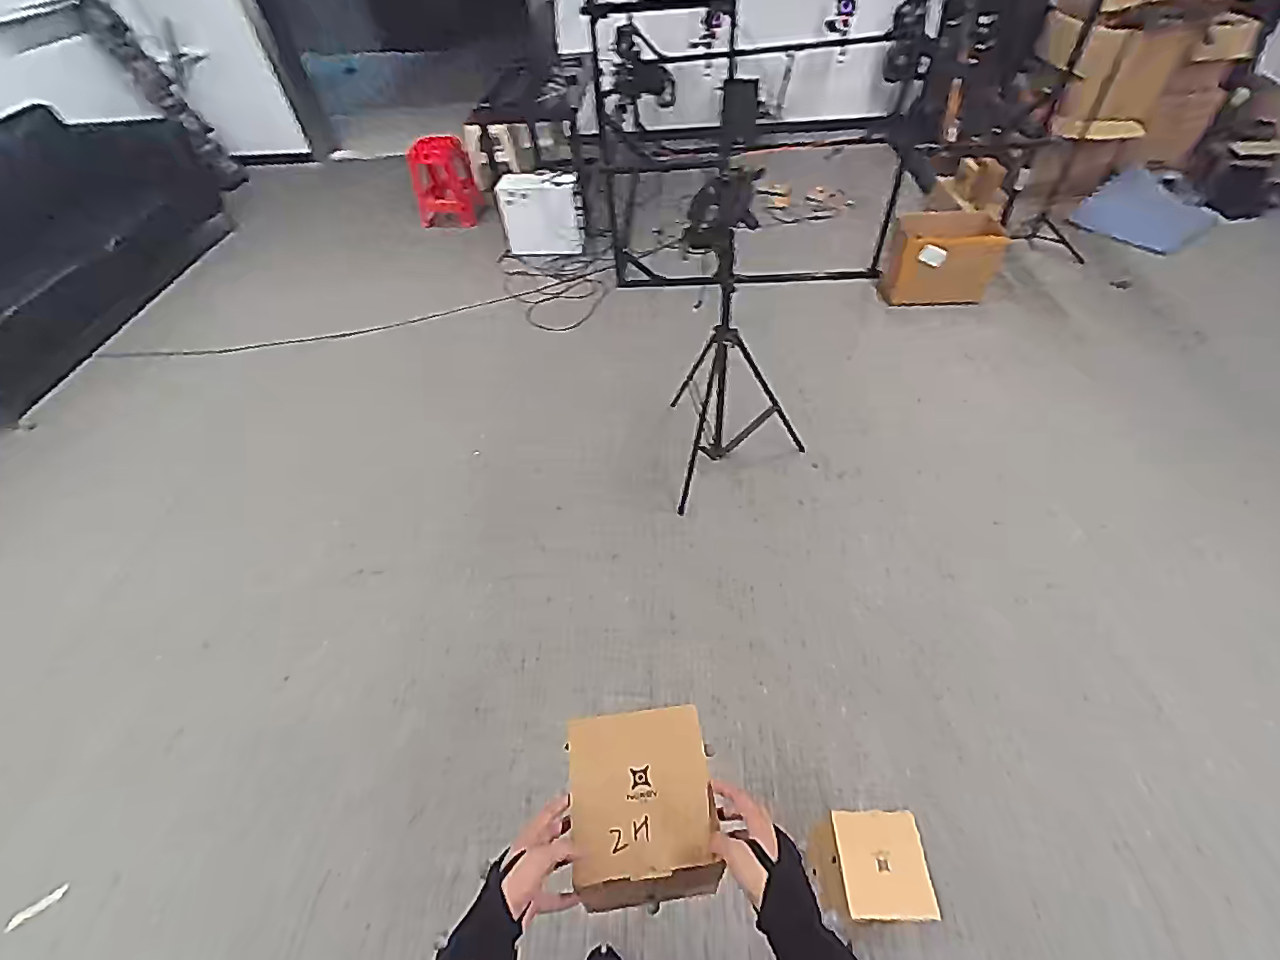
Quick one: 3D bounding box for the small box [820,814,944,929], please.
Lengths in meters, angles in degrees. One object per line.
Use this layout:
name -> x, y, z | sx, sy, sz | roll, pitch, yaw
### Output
small box -> 0.475, 0.792, 1.093 | 0.168, 0.176, 0.179 | -2, 48, 3

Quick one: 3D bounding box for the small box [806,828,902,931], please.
small box -> 0.482, 0.899, 1.215 | 0.168, 0.176, 0.179 | -2, 48, 3

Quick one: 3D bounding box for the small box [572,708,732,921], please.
small box -> 0.006, 0.411, 0.668 | 0.168, 0.176, 0.179 | -6, 44, -4
